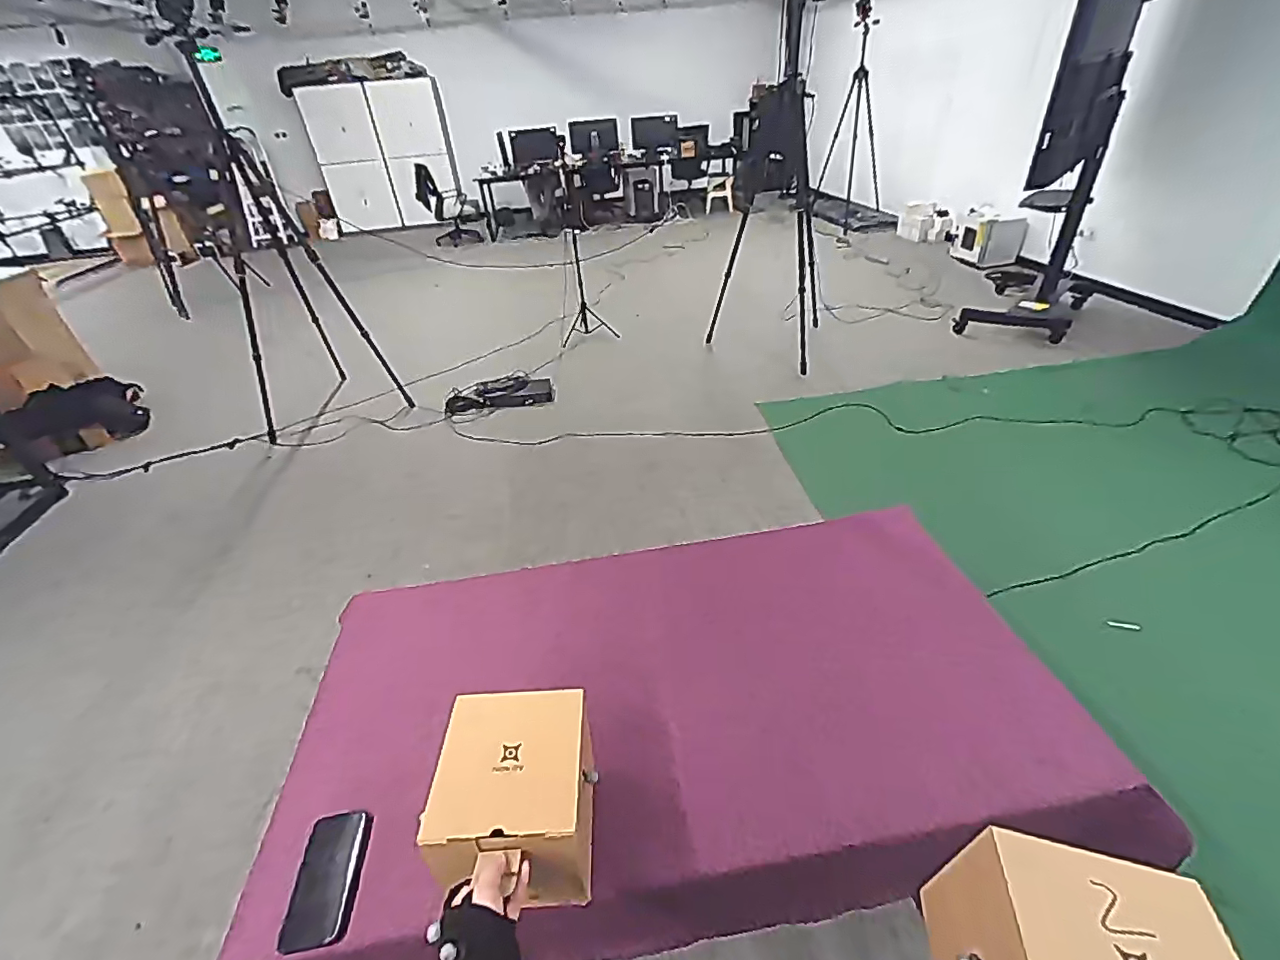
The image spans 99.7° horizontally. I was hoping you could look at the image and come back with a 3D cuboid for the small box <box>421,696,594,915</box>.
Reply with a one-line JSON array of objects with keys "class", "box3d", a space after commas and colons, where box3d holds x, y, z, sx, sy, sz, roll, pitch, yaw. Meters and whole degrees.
[{"class": "small box", "box3d": [-0.145, 0.392, 0.663, 0.168, 0.176, 0.179, -2, 33, -1]}]
